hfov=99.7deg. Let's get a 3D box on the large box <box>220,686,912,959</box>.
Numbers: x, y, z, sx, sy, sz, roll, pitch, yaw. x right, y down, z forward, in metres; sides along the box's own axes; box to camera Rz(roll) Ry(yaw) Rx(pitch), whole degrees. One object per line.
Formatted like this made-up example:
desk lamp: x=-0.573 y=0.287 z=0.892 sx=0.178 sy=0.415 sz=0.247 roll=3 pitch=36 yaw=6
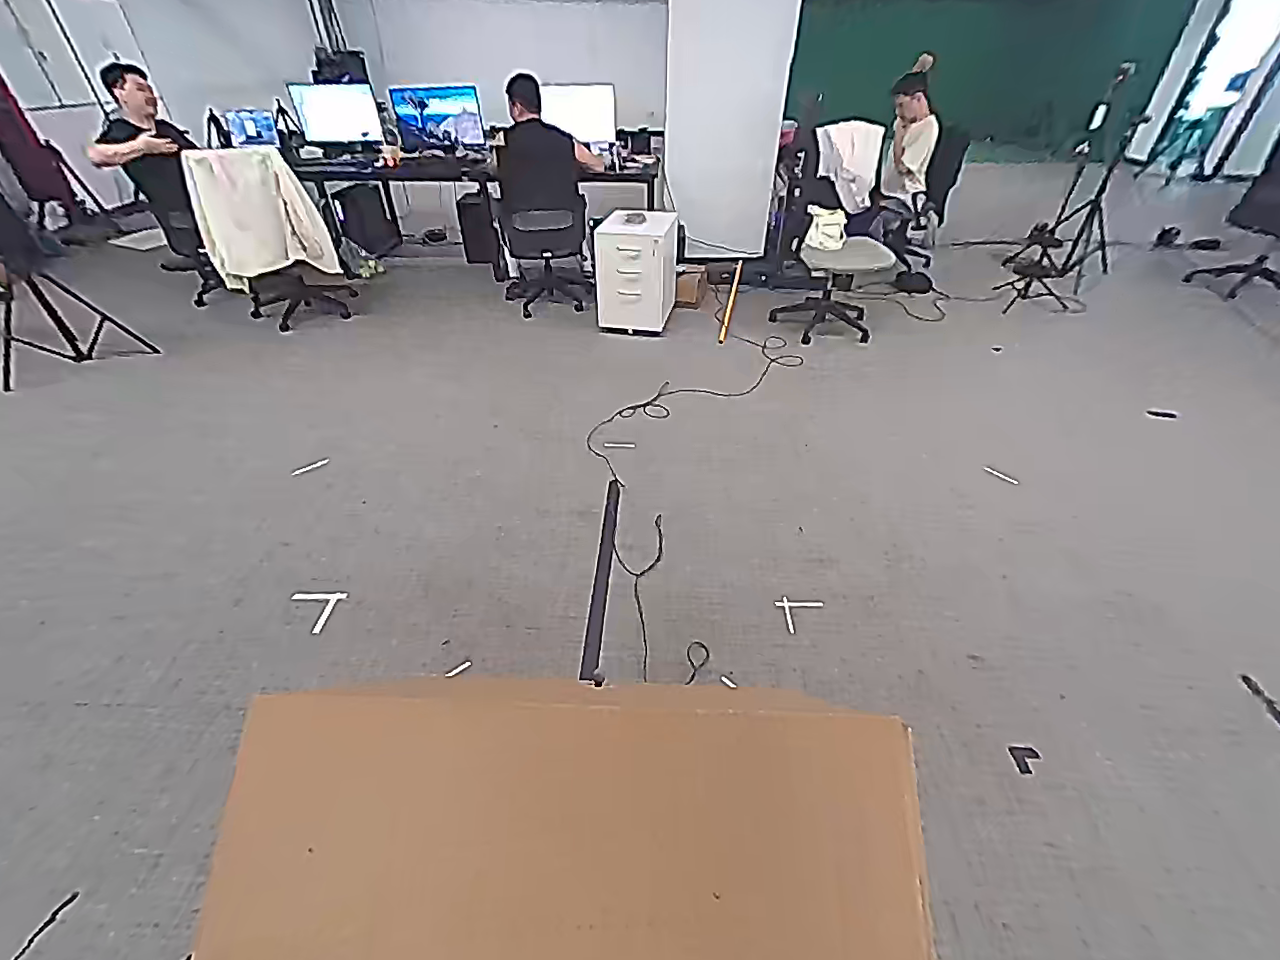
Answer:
large box: x=-0.038 y=0.344 z=0.442 sx=0.408 sy=0.320 sz=0.320 roll=0 pitch=72 yaw=3
